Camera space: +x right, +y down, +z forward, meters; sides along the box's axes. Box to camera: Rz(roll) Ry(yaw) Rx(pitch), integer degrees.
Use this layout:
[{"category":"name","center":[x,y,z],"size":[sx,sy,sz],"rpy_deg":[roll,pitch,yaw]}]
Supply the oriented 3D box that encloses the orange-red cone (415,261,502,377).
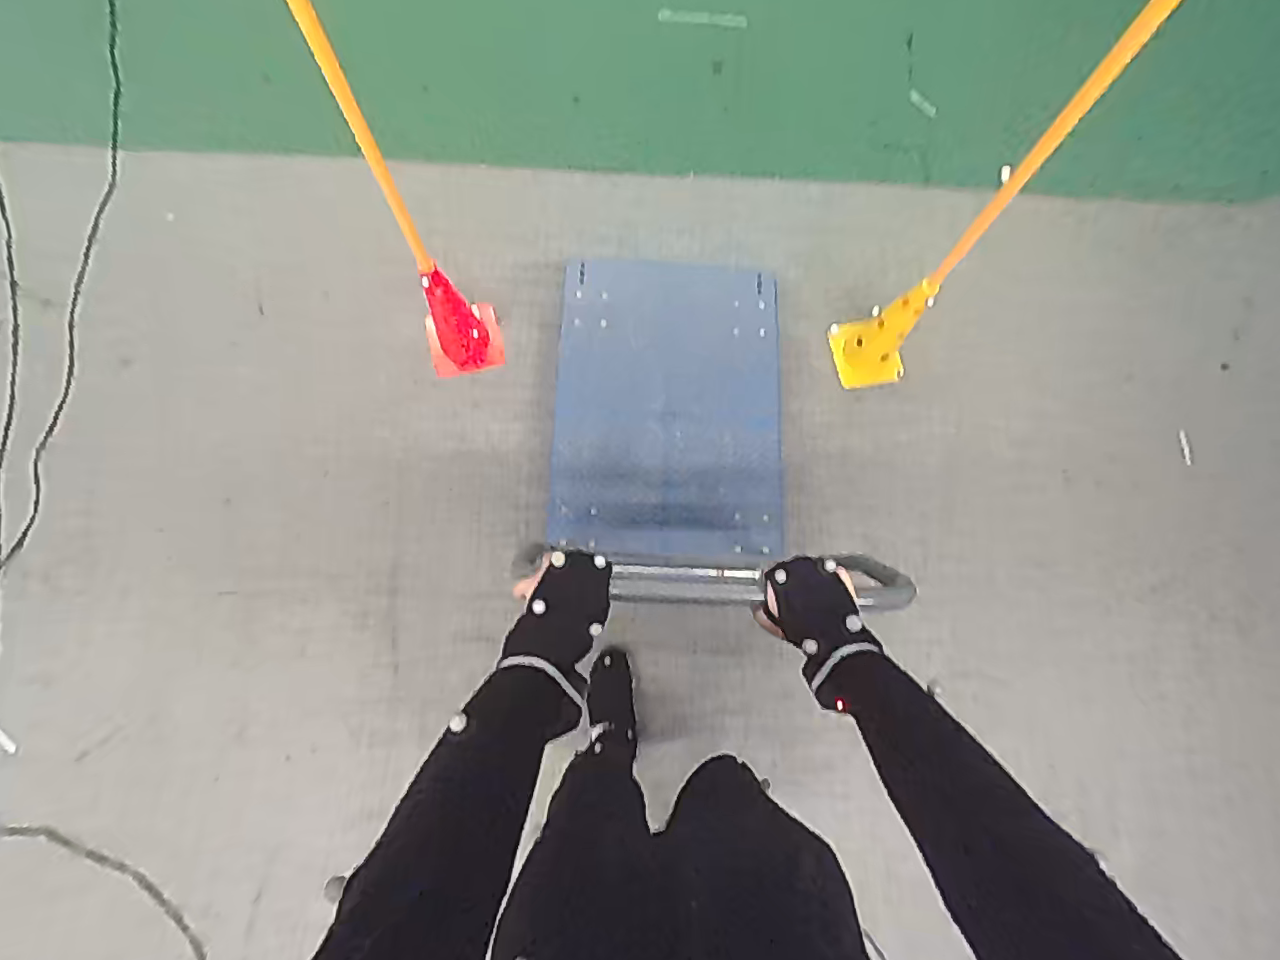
[{"category":"orange-red cone","center":[-0.500,-0.438,1.395],"size":[0.199,0.360,0.198],"rpy_deg":[-13,77,-5]}]
